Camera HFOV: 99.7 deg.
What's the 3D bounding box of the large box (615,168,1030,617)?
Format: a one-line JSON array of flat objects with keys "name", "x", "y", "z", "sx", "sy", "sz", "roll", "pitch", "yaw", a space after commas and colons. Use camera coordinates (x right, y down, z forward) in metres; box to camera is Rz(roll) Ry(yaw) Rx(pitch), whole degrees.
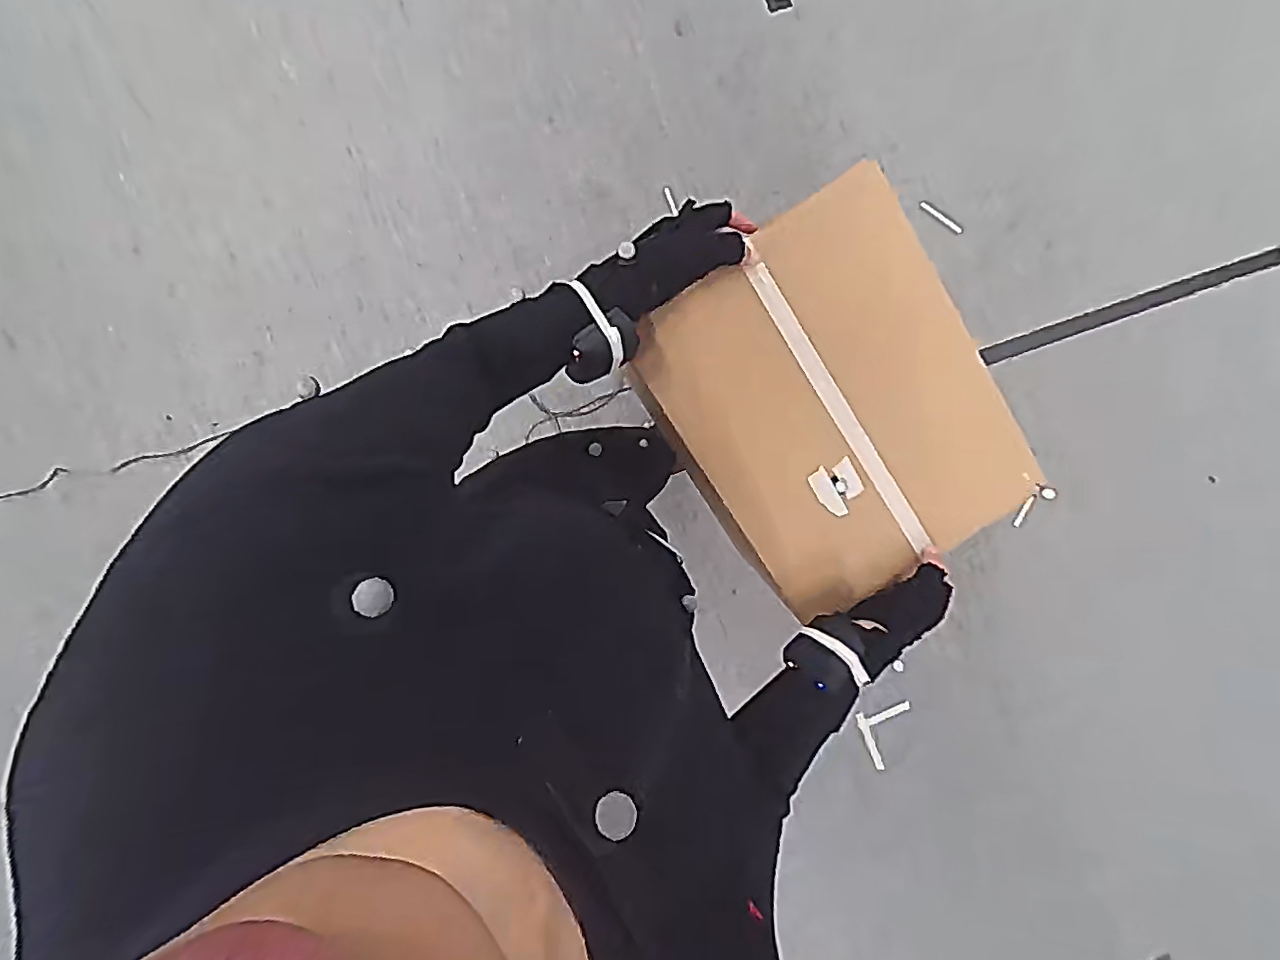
[{"name": "large box", "x": 0.202, "y": -0.105, "z": 0.739, "sx": 0.320, "sy": 0.320, "sz": 0.408, "roll": -34, "pitch": 100, "yaw": 4}]
